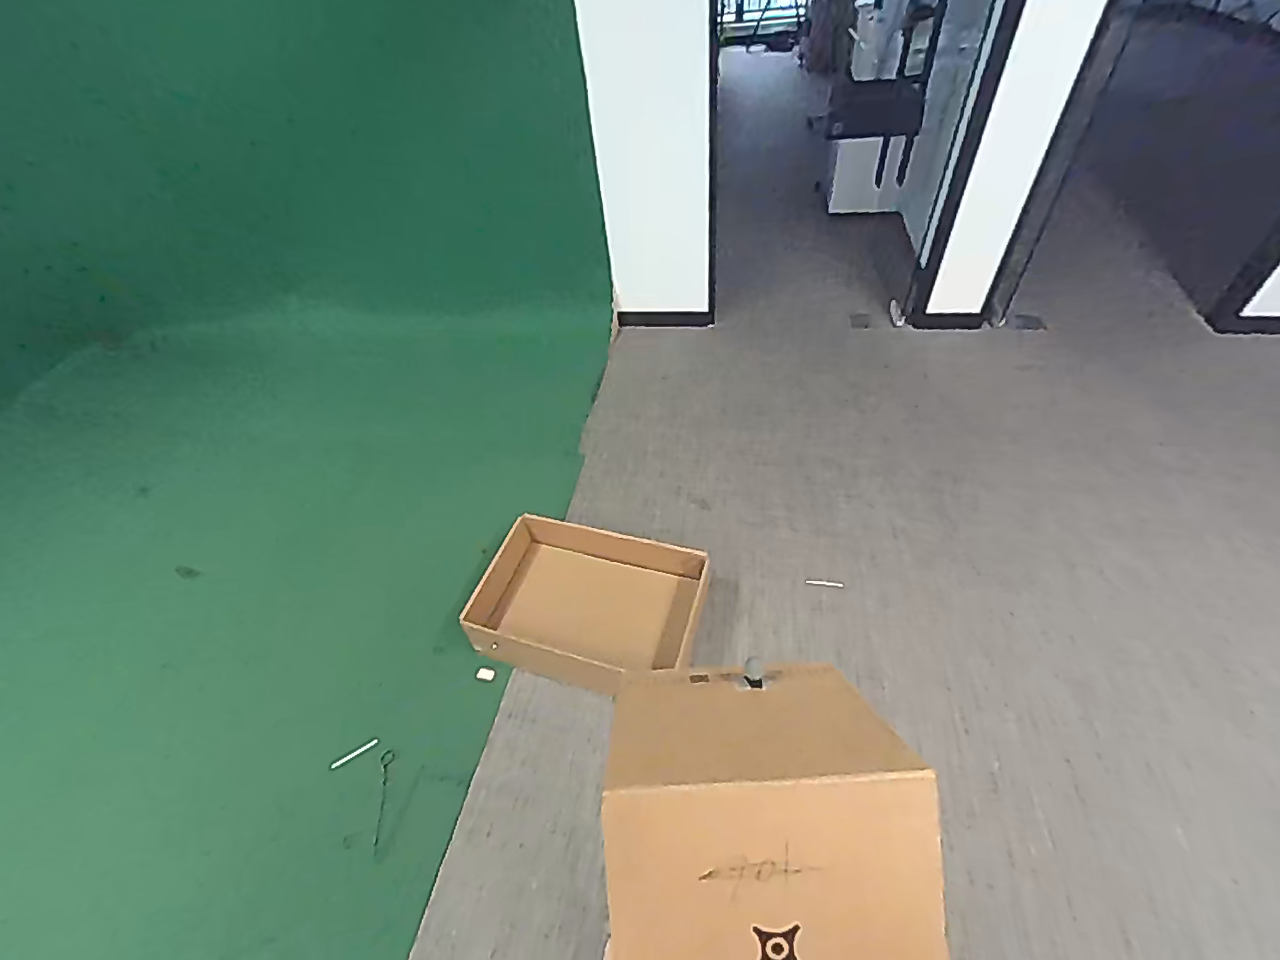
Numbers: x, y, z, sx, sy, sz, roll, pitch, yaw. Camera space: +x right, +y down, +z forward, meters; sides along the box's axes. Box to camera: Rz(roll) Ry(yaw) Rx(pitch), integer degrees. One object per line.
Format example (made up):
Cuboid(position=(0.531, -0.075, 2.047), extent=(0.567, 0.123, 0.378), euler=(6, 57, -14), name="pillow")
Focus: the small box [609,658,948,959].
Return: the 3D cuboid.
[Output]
Cuboid(position=(0.072, 0.232, 0.349), extent=(0.168, 0.176, 0.179), euler=(-4, 90, 1), name="small box")
